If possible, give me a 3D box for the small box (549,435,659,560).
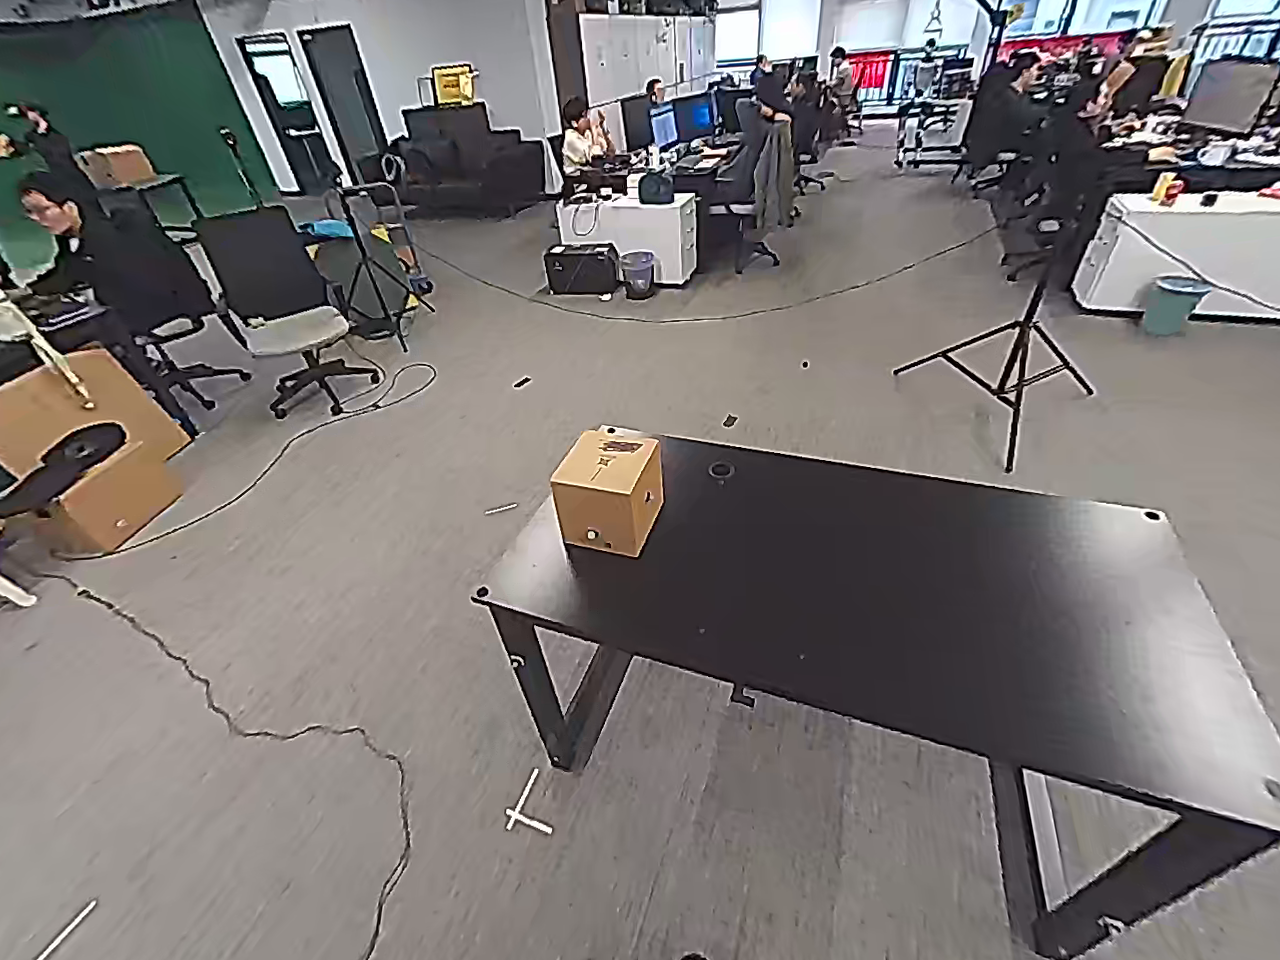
[{"bbox_3d":[-0.063,0.033,1.099,0.168,0.176,0.179,9,42,18],"label":"small box"}]
